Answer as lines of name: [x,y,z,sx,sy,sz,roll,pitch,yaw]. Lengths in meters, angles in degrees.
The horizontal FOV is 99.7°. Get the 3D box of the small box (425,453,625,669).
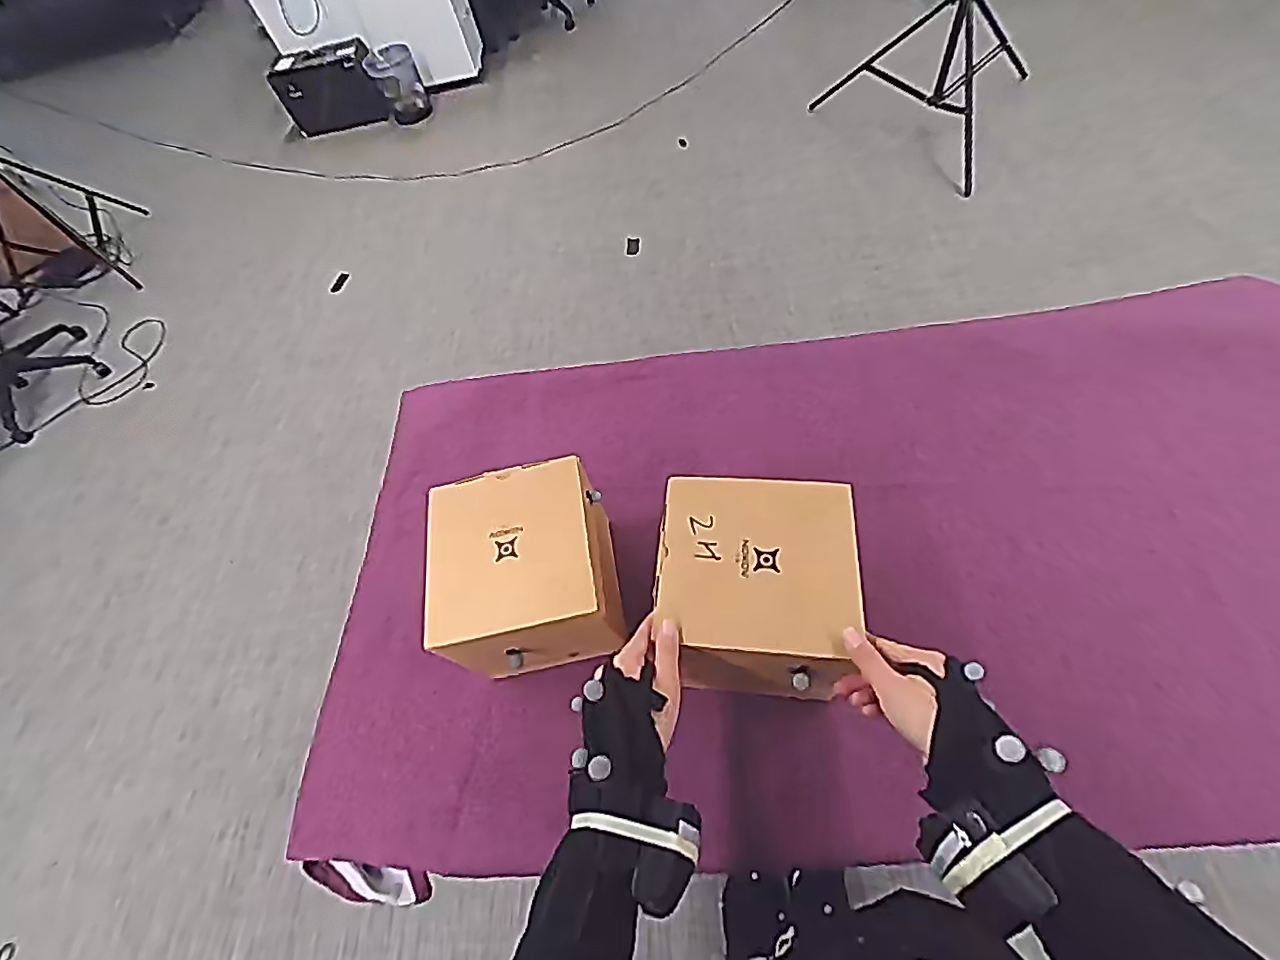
small box: [-0.121,0.101,0.605,0.168,0.176,0.179,-14,58,2]

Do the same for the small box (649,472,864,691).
small box: [0.111,0.108,0.550,0.179,0.176,0.168,2,58,9]
